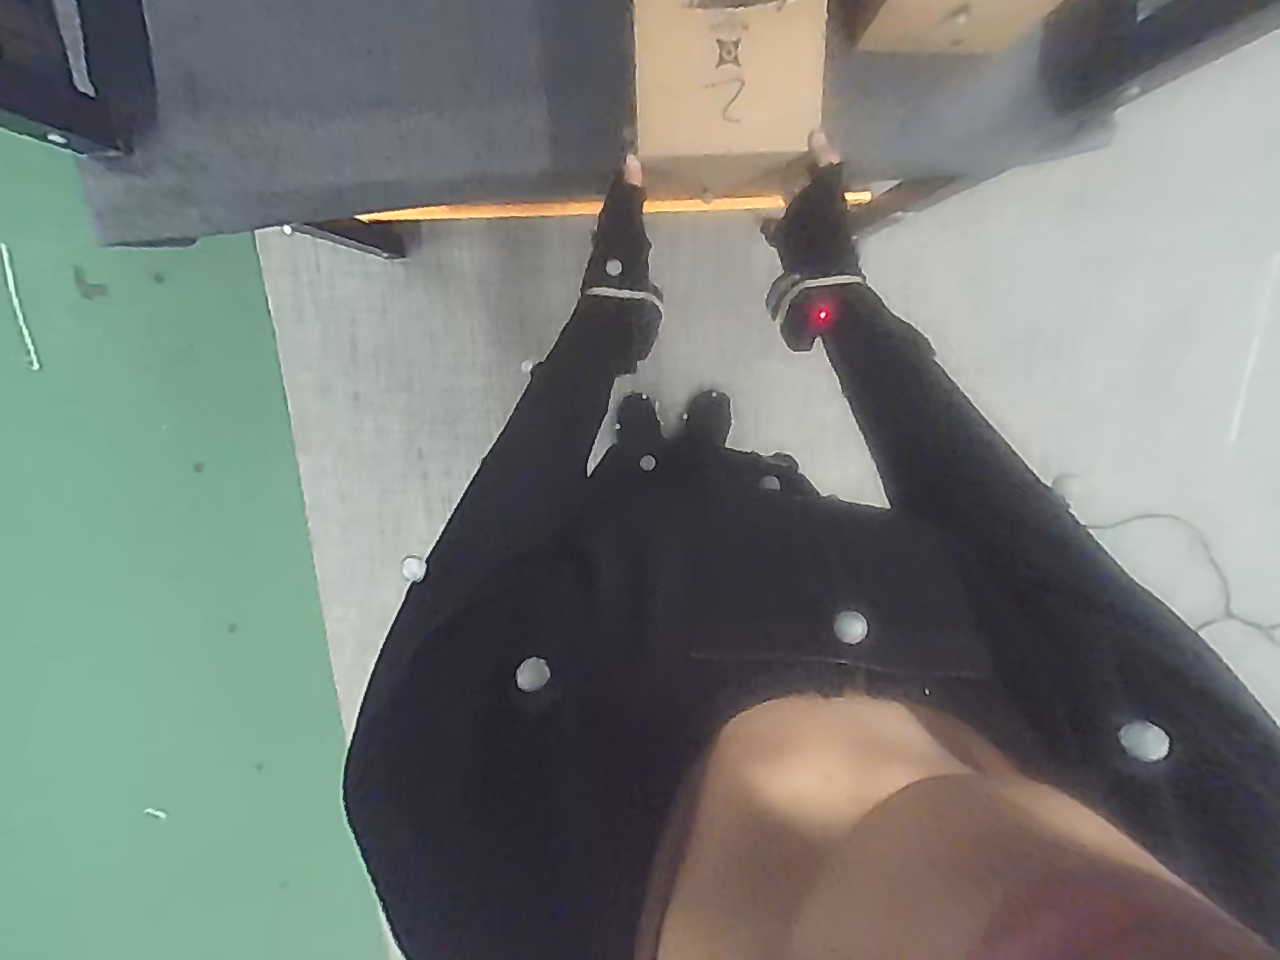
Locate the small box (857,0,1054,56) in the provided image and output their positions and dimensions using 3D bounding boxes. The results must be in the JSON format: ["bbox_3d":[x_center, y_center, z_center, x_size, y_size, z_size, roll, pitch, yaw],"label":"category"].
[{"bbox_3d":[0.320,-0.537,0.507,0.168,0.176,0.179,2,103,0],"label":"small box"}]
